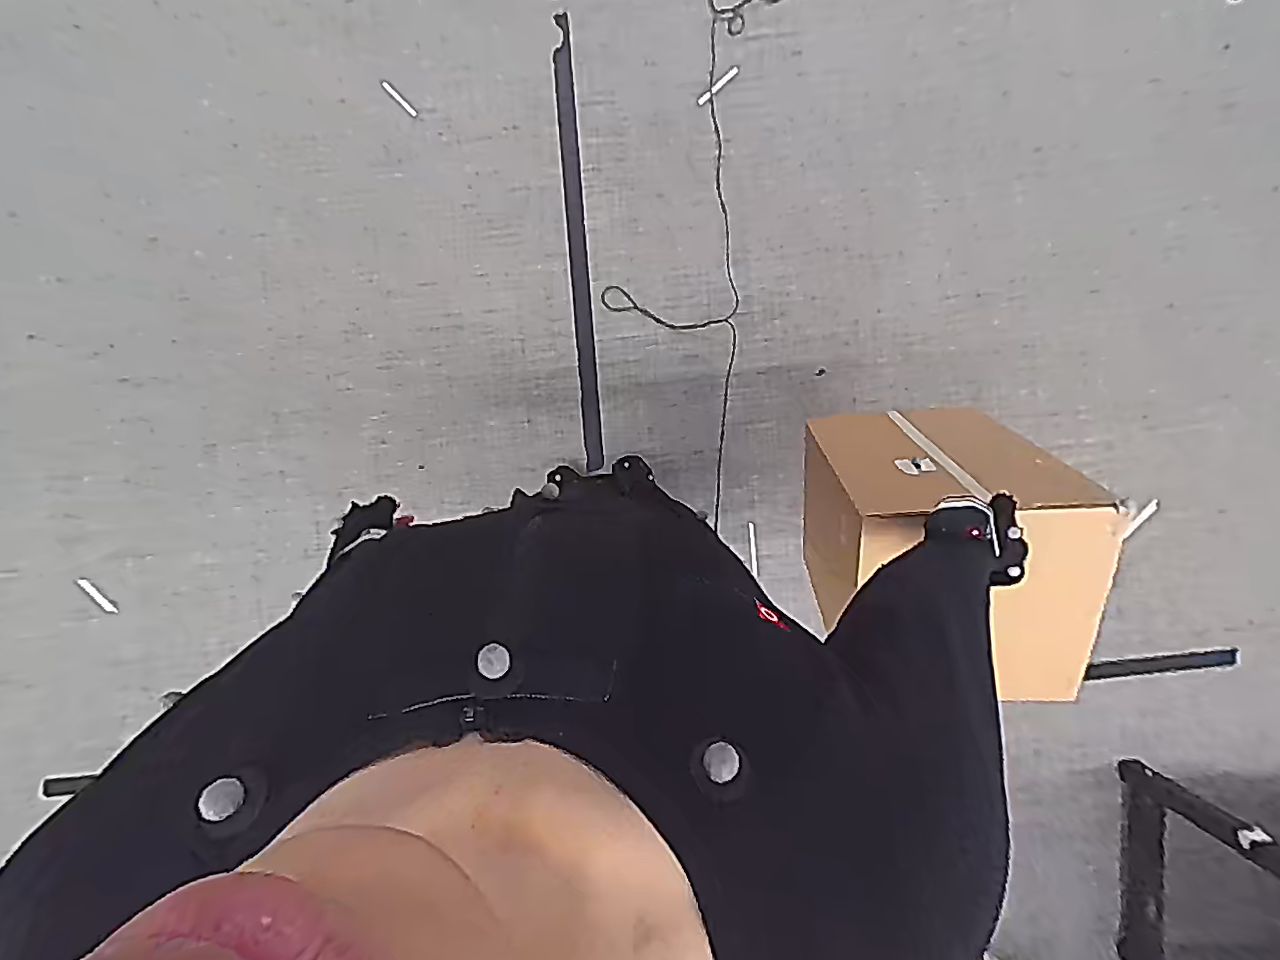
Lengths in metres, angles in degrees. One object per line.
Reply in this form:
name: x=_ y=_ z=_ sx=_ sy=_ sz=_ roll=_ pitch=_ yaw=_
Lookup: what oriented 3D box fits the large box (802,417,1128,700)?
large box: x=0.474 y=0.106 z=0.917 sx=0.320 sy=0.408 sz=0.320 roll=-3 pitch=115 yaw=7
